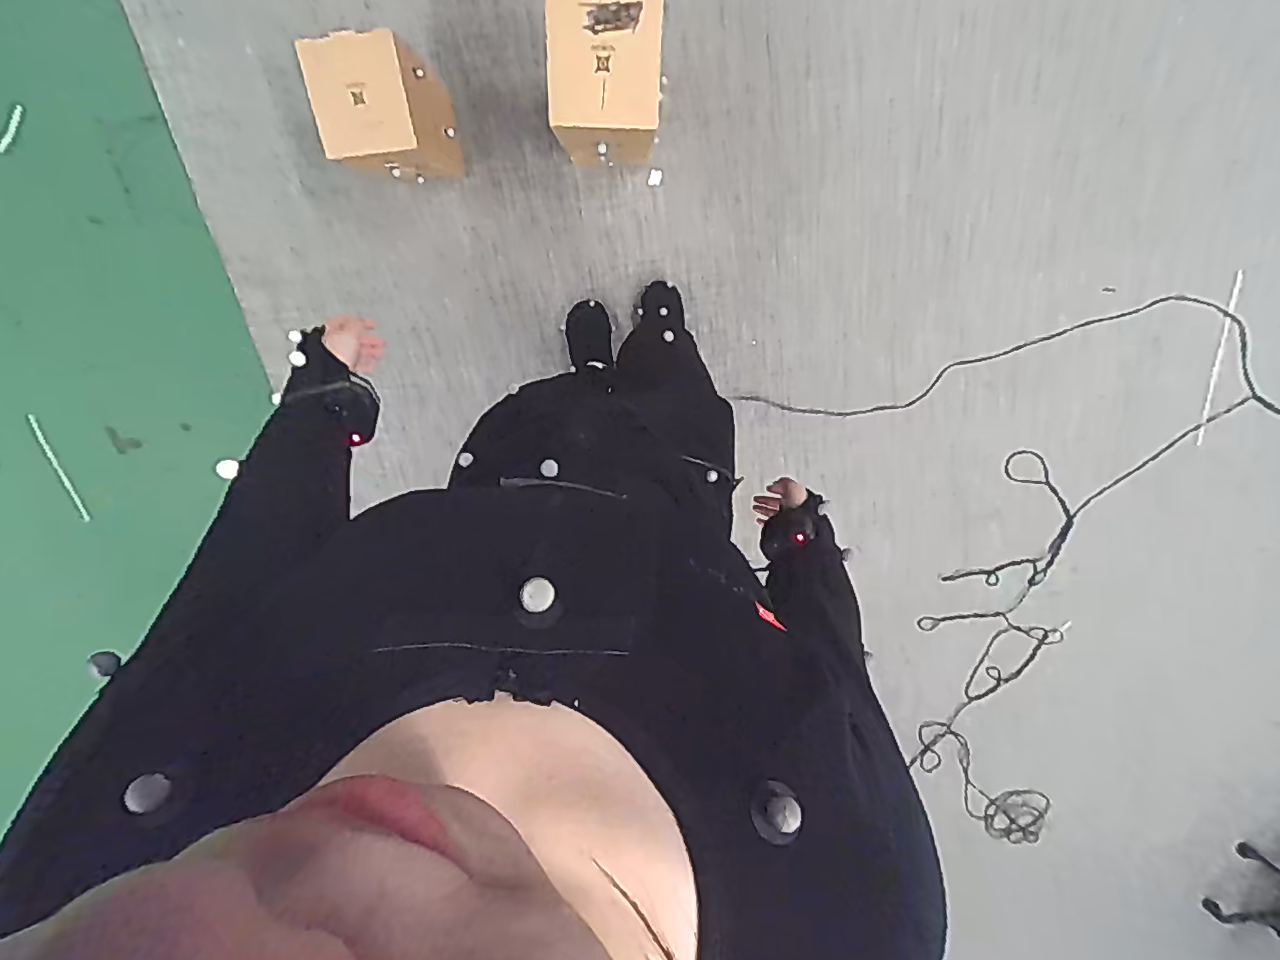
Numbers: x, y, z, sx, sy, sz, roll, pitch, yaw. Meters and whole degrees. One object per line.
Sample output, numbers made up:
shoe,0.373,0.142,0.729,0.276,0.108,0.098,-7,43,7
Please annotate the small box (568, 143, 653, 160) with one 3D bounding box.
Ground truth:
small box,-0.060,-0.709,1.003,0.168,0.176,0.179,0,113,-2

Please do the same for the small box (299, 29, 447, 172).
small box,-0.478,-0.688,0.998,0.168,0.176,0.179,-6,114,2

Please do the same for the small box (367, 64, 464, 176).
small box,-0.486,-0.751,1.147,0.168,0.176,0.179,-4,113,0

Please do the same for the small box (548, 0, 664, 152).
small box,-0.055,-0.637,0.855,0.168,0.176,0.179,1,114,-2
